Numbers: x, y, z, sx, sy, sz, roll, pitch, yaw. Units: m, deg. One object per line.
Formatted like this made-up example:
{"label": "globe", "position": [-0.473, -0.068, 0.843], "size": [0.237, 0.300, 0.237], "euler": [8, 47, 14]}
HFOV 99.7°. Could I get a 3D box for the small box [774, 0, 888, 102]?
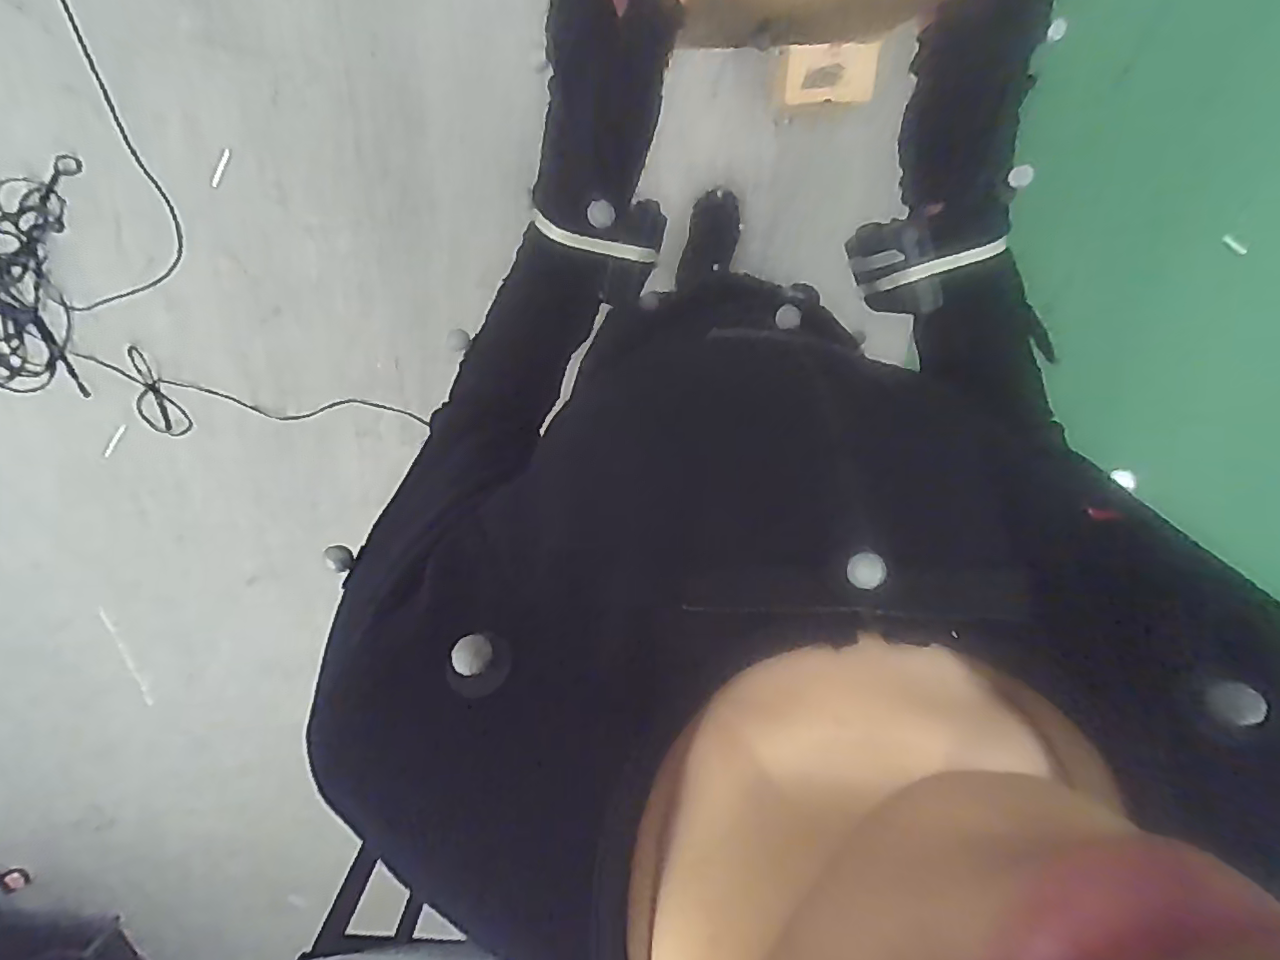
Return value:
{"label": "small box", "position": [0.360, -0.847, 1.046], "size": [0.168, 0.176, 0.179], "euler": [1, 116, 3]}
